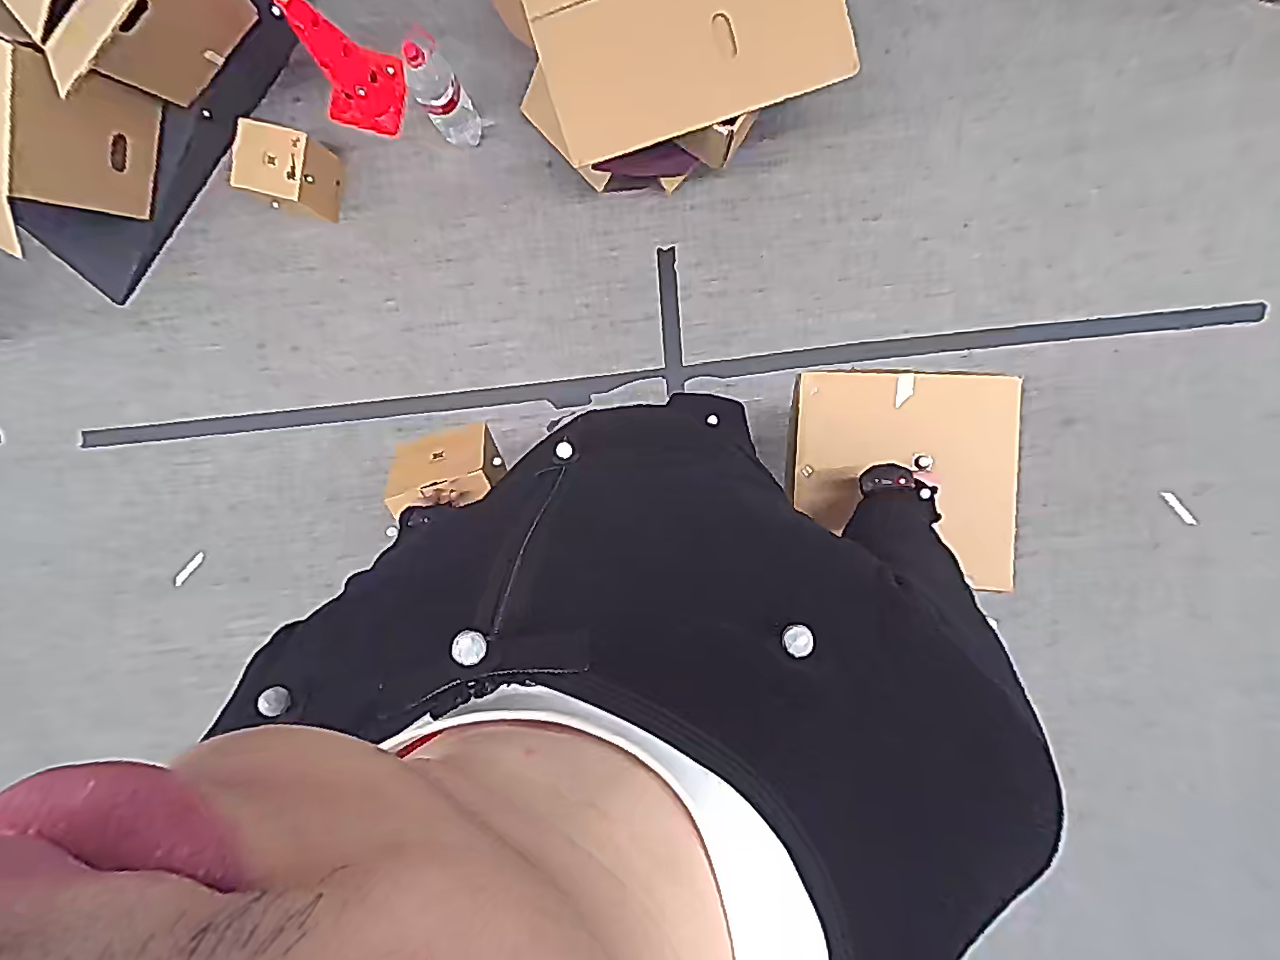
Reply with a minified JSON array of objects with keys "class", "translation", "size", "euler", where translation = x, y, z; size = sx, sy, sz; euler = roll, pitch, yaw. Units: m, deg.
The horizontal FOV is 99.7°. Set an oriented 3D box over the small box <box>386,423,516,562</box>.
[{"class":"small box","translation":[-0.332,0.028,0.983],"size":[0.168,0.179,0.176],"euler":[-17,125,-3]}]
